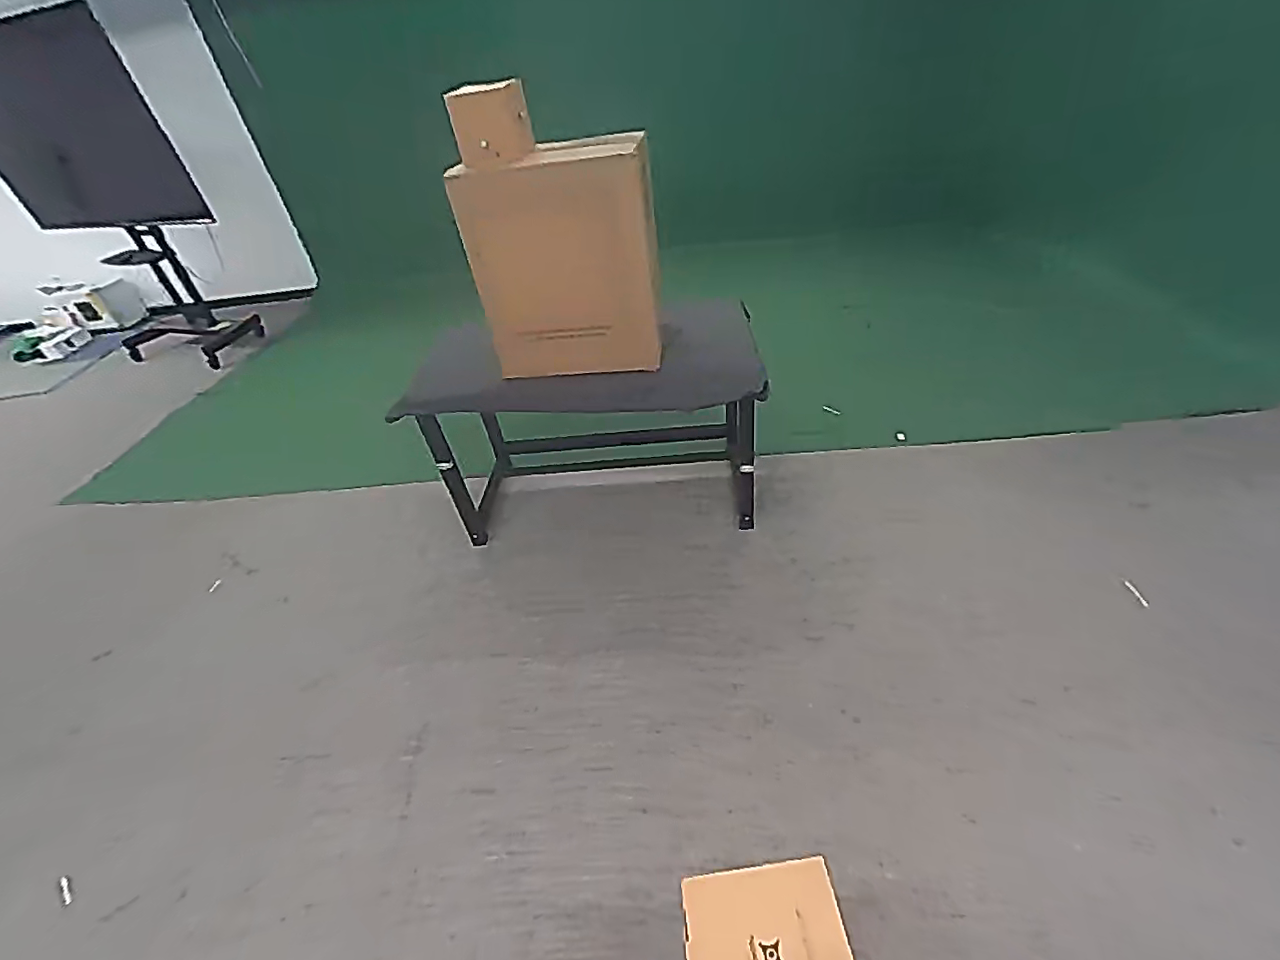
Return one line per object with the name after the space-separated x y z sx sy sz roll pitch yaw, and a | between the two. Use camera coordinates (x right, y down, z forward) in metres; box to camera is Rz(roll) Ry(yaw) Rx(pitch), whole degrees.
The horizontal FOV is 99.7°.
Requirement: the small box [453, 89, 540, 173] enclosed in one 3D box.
-0.390 -0.973 1.510 0.168 0.176 0.179 -2 42 9 | small box

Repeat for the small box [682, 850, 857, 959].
0.156 0.569 0.631 0.179 0.176 0.168 -11 36 2 | small box
